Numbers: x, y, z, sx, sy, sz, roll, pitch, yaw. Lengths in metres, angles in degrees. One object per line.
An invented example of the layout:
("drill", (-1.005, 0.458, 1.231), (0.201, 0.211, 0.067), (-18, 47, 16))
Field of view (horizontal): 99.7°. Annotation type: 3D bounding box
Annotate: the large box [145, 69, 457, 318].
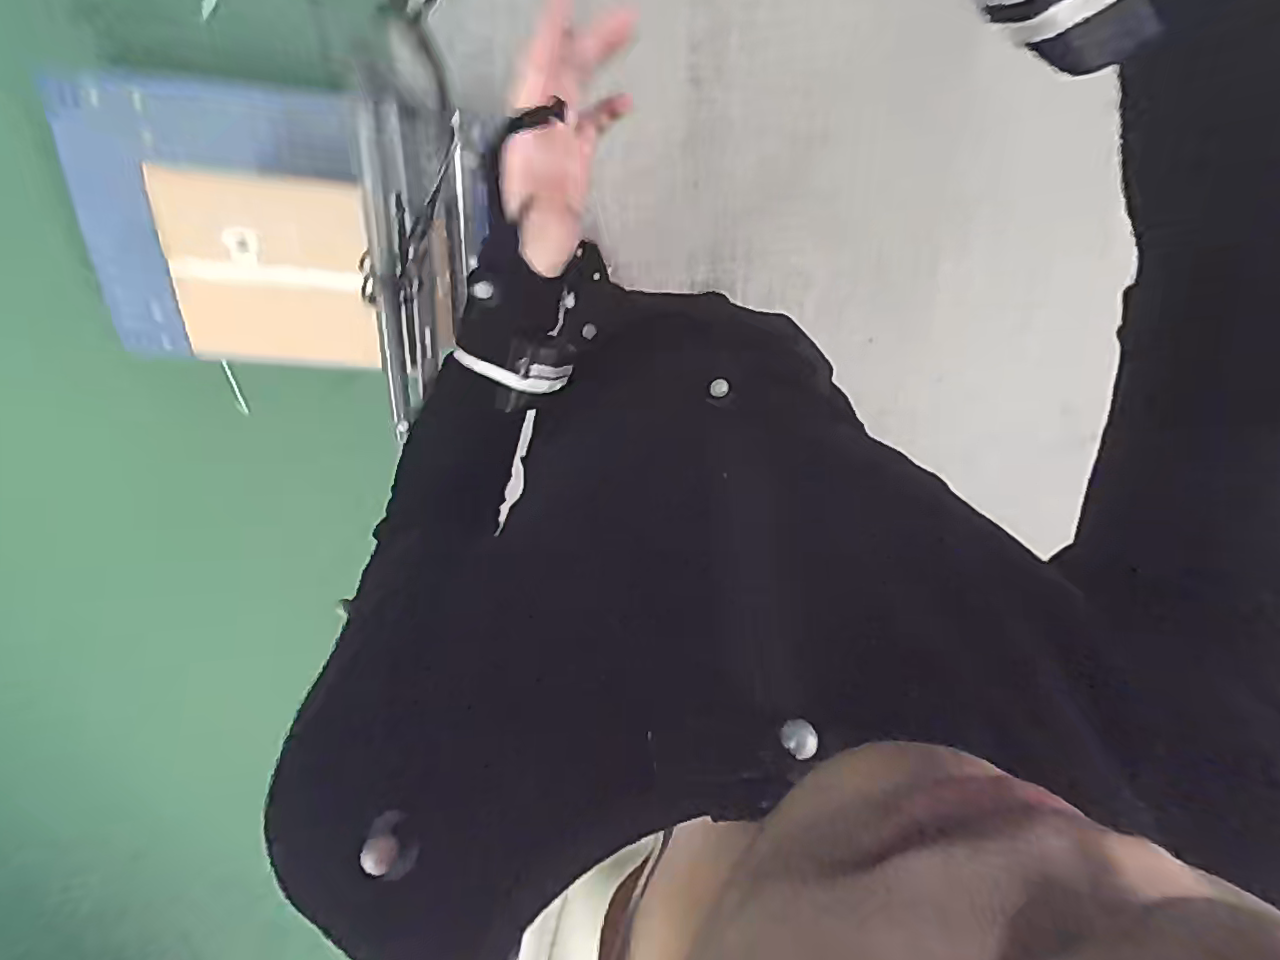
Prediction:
("large box", (-0.597, -0.533, 1.046), (0.408, 0.320, 0.320), (10, 116, -8))
